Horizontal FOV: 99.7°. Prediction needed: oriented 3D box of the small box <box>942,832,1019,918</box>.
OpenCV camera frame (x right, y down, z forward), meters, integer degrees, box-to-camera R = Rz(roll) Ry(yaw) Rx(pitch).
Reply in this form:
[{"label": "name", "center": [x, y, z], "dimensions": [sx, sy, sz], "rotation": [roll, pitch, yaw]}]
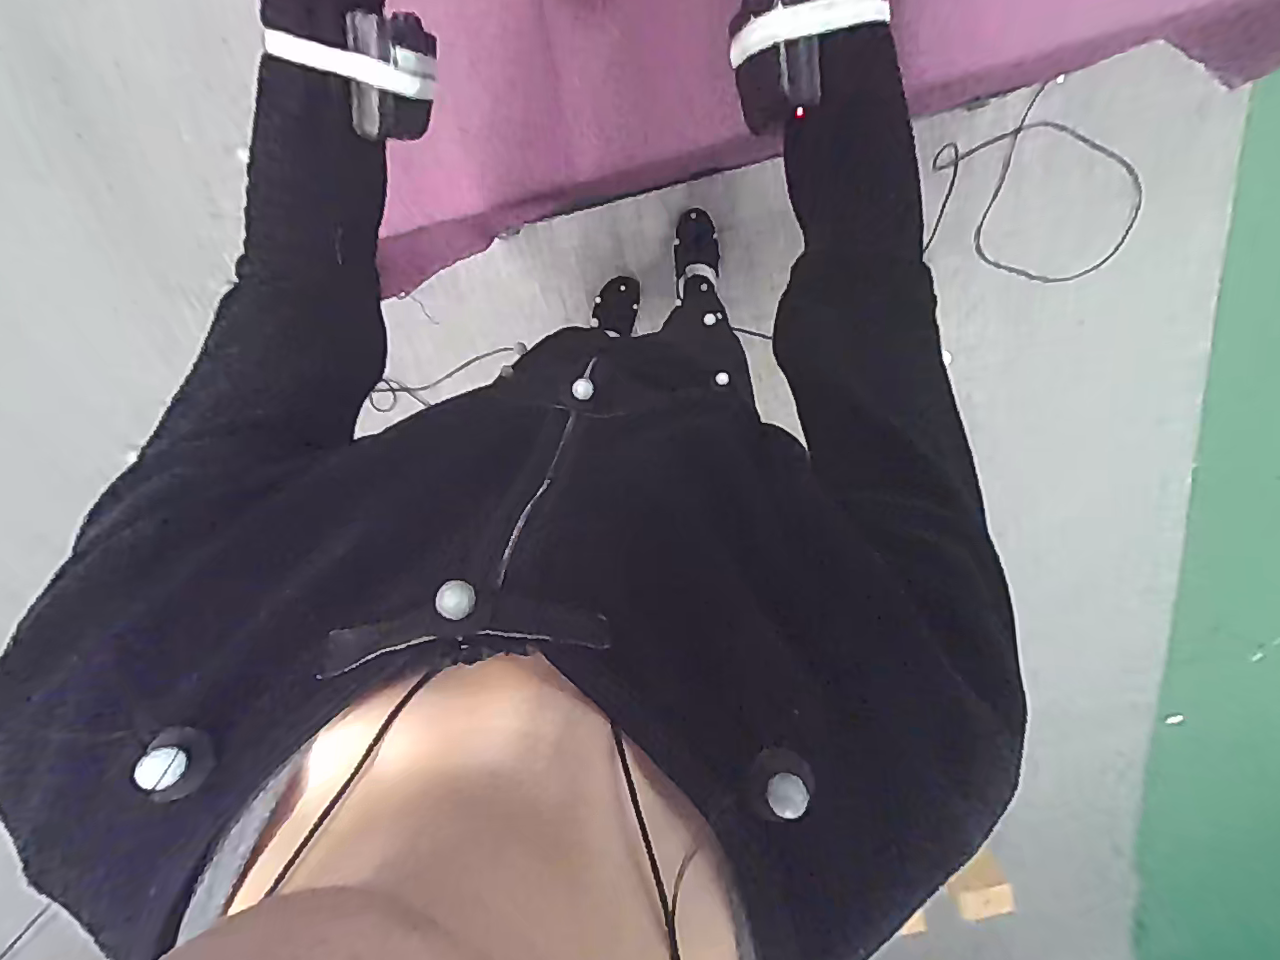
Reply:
[{"label": "small box", "center": [1.200, 1.399, 1.920], "dimensions": [0.179, 0.176, 0.168], "rotation": [-18, 112, 5]}]
